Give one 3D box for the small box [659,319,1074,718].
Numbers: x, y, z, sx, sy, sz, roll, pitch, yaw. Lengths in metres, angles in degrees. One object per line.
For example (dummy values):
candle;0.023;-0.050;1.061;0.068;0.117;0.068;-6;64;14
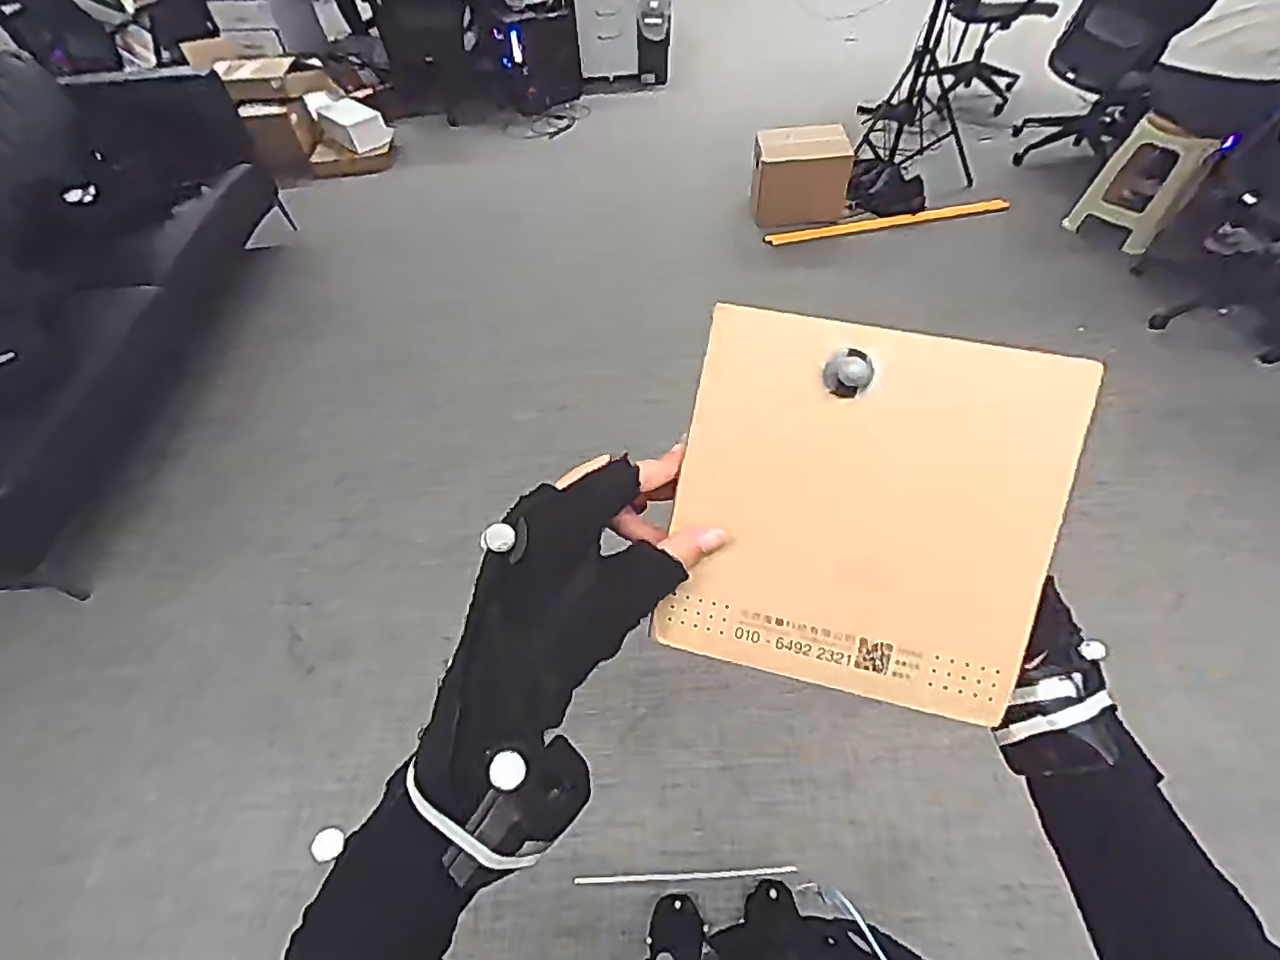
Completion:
small box;0.114;0.015;0.339;0.168;0.179;0.176;11;94;10
